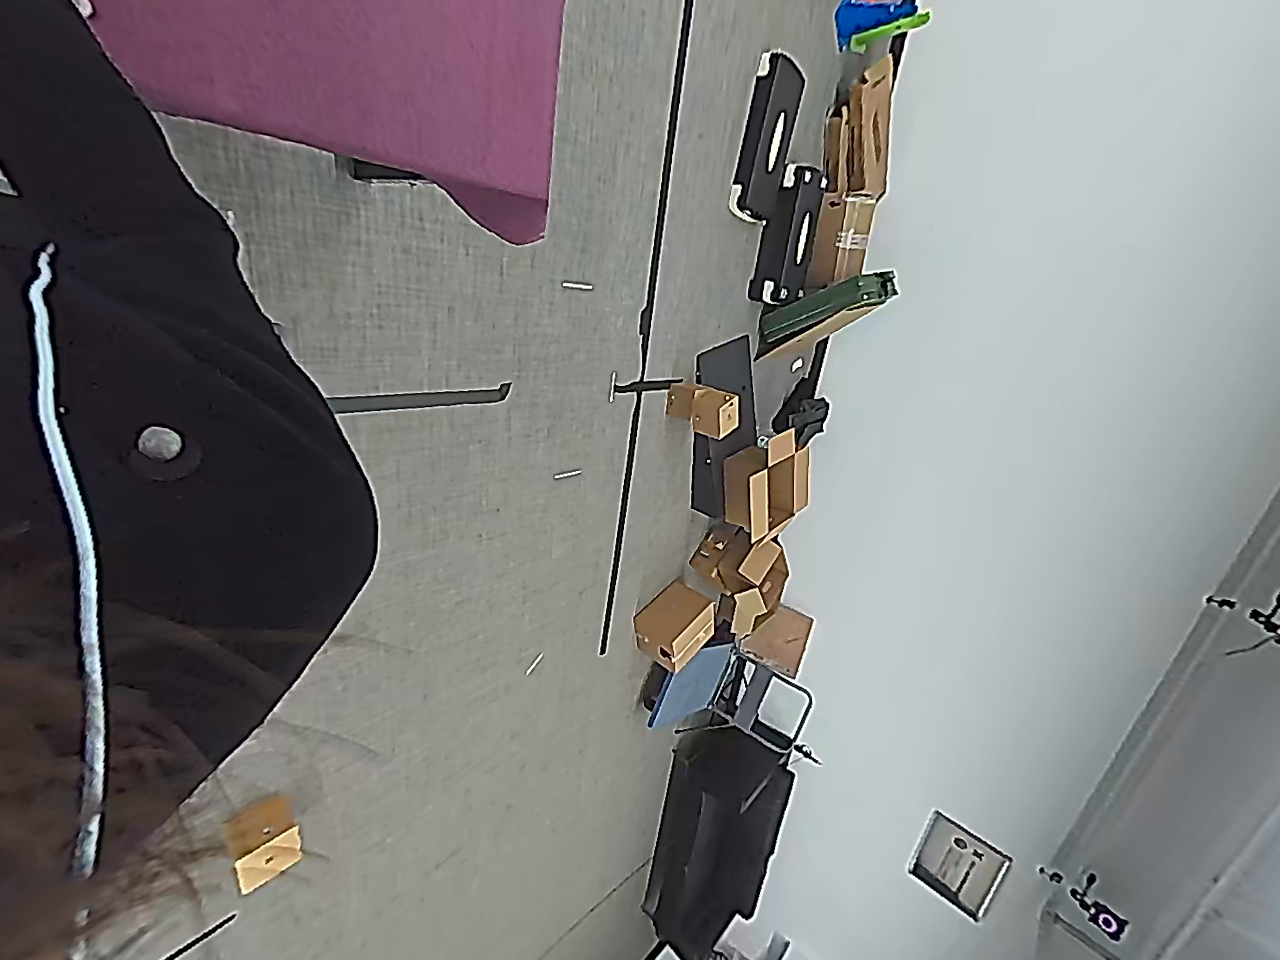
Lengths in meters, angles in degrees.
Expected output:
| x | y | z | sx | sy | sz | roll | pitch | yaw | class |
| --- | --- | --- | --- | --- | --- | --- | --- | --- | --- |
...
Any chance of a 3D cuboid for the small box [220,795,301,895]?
| x | y | z | sx | sy | sz | roll | pitch | yaw | class |
| --- | --- | --- | --- | --- | --- | --- | --- | --- | --- |
| -1.262 | 1.201 | 1.793 | 0.179 | 0.176 | 0.168 | -19 | 123 | -48 | small box |
